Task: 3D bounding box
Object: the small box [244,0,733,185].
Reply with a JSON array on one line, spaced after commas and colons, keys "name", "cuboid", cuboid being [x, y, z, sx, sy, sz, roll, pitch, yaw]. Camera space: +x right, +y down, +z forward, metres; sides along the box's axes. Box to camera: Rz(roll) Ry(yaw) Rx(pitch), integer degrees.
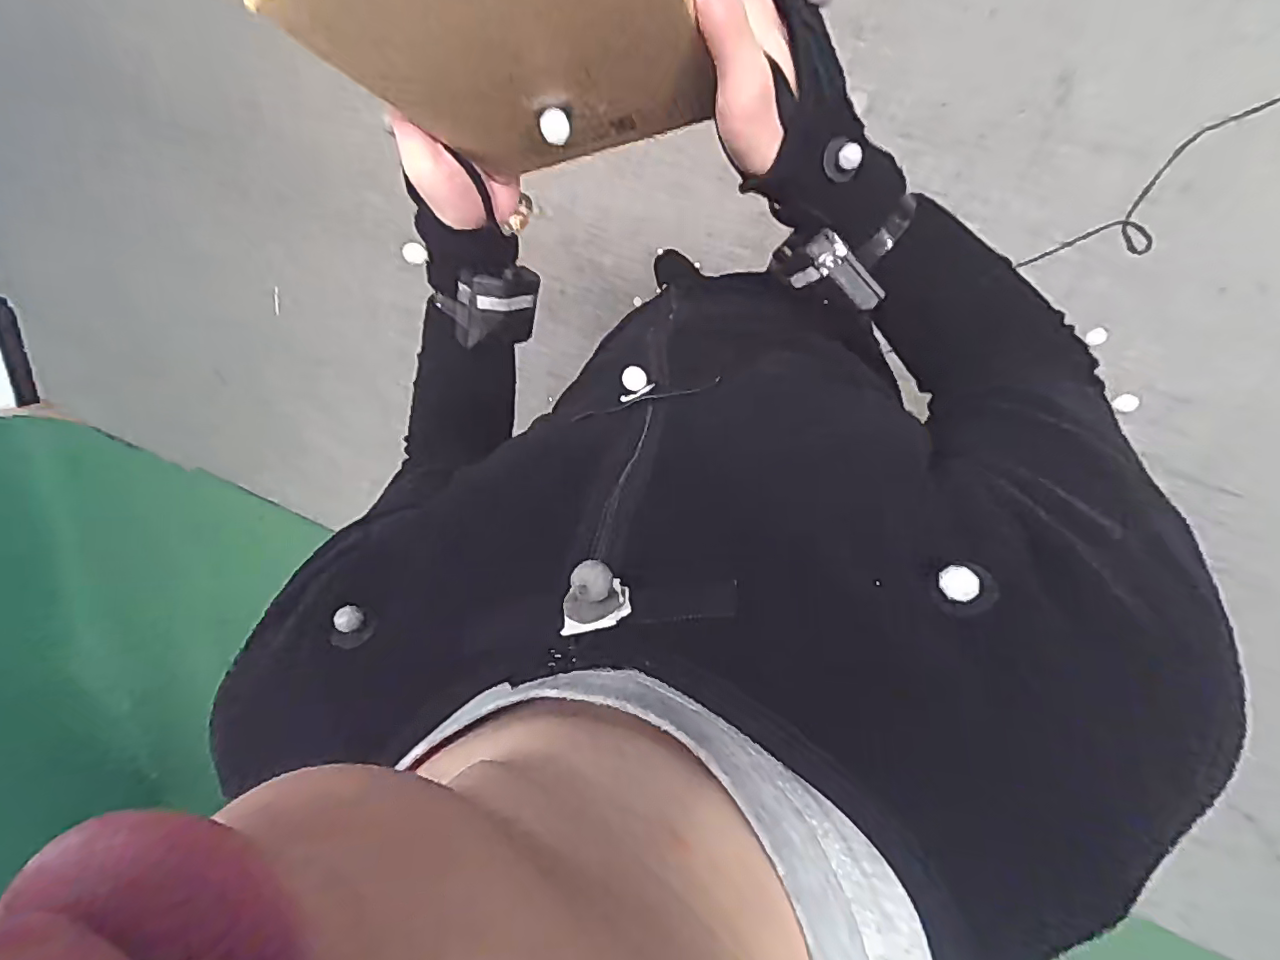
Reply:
[{"name": "small box", "cuboid": [-0.056, -0.277, 0.256, 0.168, 0.176, 0.179, 0, 95, 24]}]
